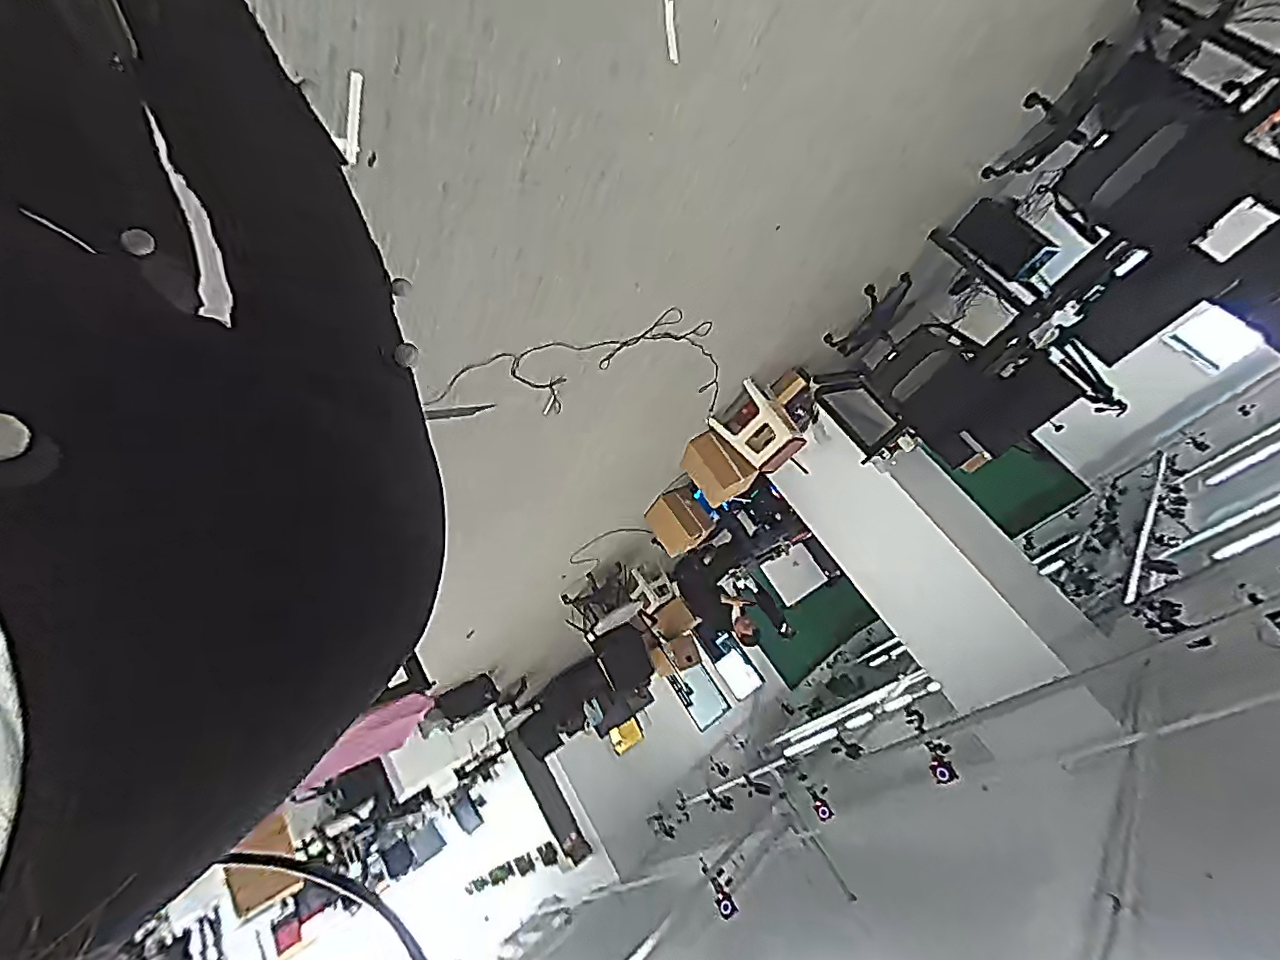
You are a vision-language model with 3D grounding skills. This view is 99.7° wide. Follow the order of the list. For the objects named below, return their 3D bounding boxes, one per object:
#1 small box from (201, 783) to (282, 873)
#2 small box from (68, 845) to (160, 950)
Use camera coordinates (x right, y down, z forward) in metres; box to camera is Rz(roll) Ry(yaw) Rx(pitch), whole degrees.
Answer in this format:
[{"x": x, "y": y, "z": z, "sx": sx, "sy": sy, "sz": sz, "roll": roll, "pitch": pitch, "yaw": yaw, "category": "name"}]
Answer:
[{"x": -1.291, "y": 1.121, "z": 1.751, "sx": 0.179, "sy": 0.176, "sz": 0.168, "roll": -15, "pitch": 152, "yaw": -44, "category": "small box"}, {"x": -1.511, "y": 1.196, "z": 1.557, "sx": 0.168, "sy": 0.176, "sz": 0.179, "roll": -13, "pitch": 150, "yaw": -47, "category": "small box"}]
